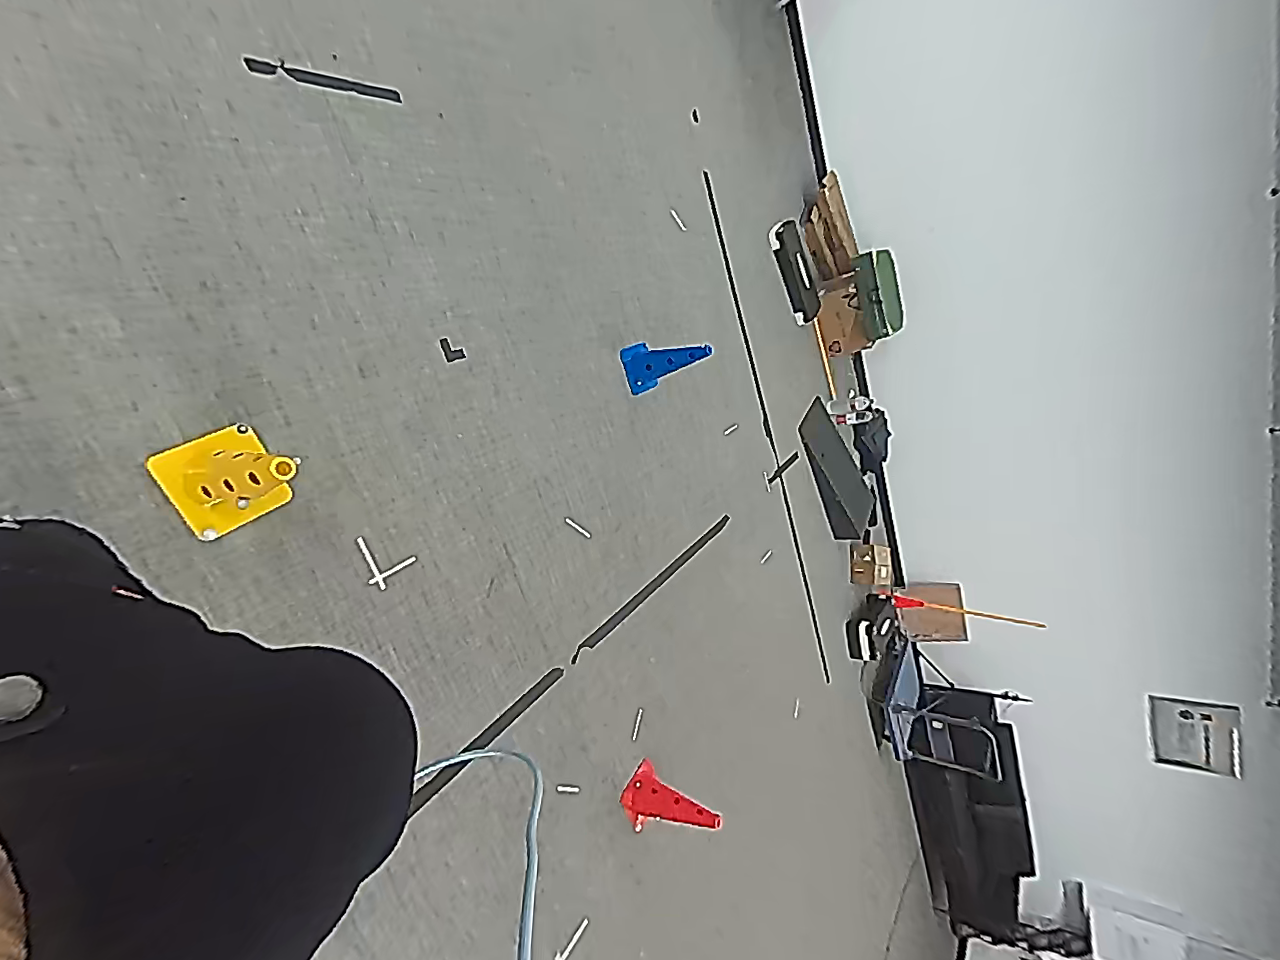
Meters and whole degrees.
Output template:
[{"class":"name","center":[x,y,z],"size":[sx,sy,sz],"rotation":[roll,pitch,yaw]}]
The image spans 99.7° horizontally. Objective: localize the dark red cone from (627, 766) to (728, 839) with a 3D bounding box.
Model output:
[{"class":"dark red cone","center":[0.154,1.254,2.023],"size":[0.202,0.394,0.201],"rotation":[-43,118,-45]}]

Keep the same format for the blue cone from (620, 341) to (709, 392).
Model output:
[{"class":"blue cone","center":[0.118,-0.495,2.213],"size":[0.193,0.380,0.192],"rotation":[-32,110,-48]}]
